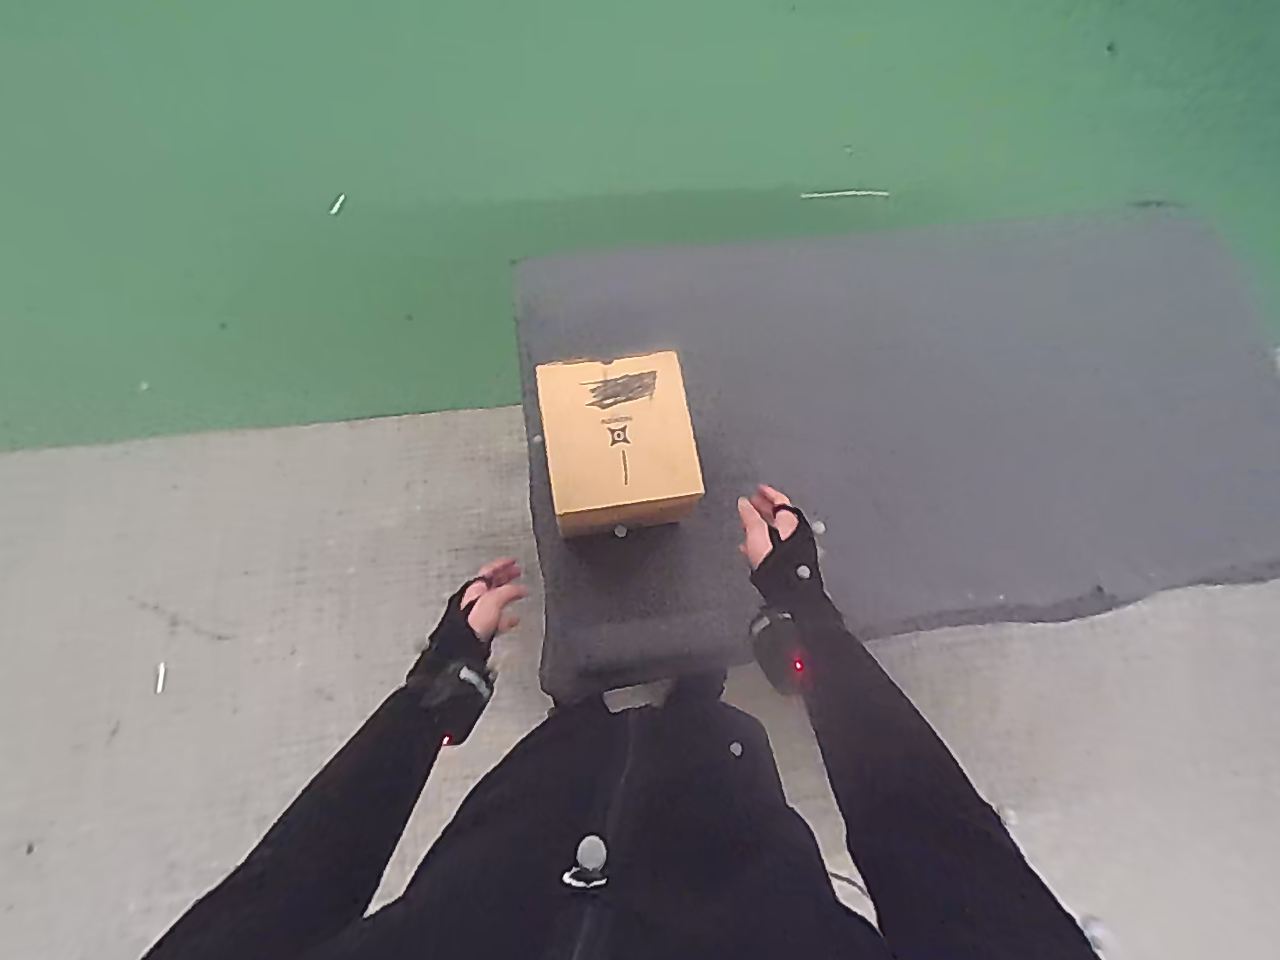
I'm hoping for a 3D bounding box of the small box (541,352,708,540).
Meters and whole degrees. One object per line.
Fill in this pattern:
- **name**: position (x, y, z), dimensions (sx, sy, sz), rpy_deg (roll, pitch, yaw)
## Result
- **small box**: position (-0.027, -0.034, 0.666), dimensions (0.168, 0.176, 0.179), rpy_deg (-8, 75, -7)
